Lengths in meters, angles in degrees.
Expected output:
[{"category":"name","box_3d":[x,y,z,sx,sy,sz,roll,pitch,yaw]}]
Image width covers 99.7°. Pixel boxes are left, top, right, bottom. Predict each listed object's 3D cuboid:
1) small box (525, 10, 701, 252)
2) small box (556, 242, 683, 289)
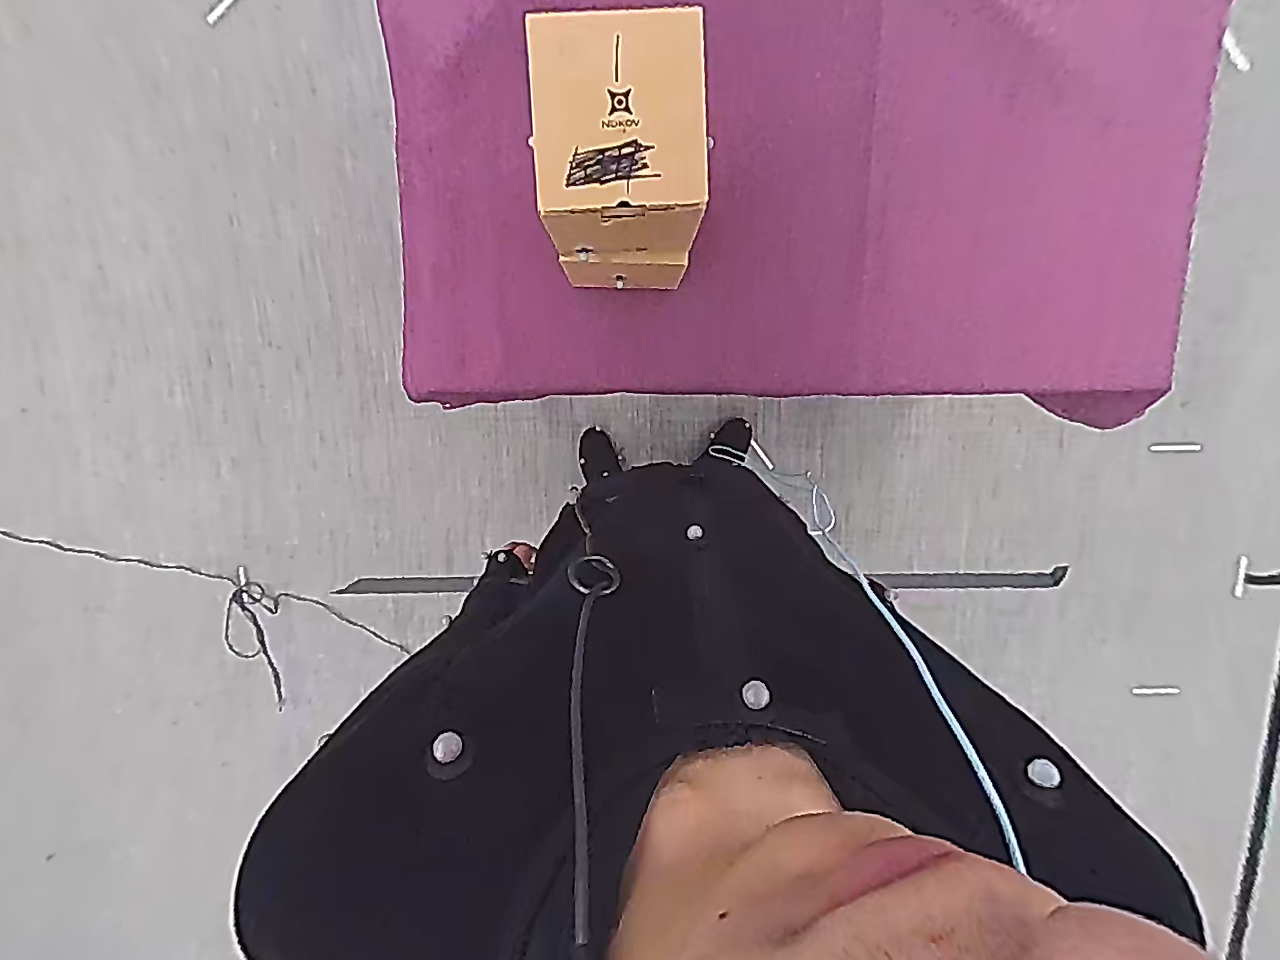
[{"category":"small box","box_3d":[-0.024,-0.357,0.590,0.168,0.176,0.179,-3,98,-1]},{"category":"small box","box_3d":[-0.024,-0.371,0.754,0.168,0.176,0.179,2,99,-2]}]
